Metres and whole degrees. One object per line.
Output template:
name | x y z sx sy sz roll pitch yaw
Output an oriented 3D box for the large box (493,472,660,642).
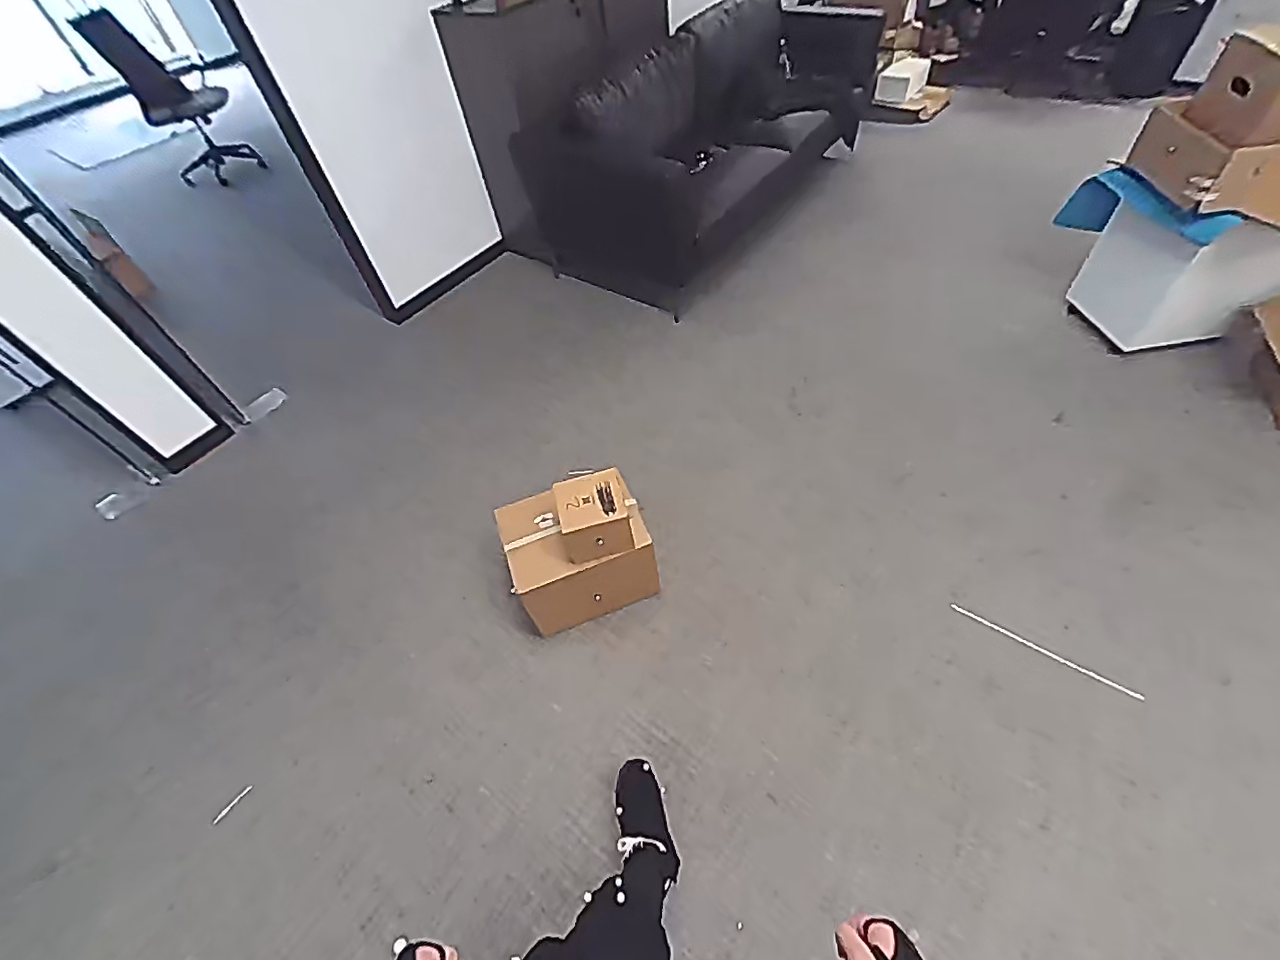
large box | -0.188 0.241 1.682 0.408 0.320 0.320 -21 51 -8
